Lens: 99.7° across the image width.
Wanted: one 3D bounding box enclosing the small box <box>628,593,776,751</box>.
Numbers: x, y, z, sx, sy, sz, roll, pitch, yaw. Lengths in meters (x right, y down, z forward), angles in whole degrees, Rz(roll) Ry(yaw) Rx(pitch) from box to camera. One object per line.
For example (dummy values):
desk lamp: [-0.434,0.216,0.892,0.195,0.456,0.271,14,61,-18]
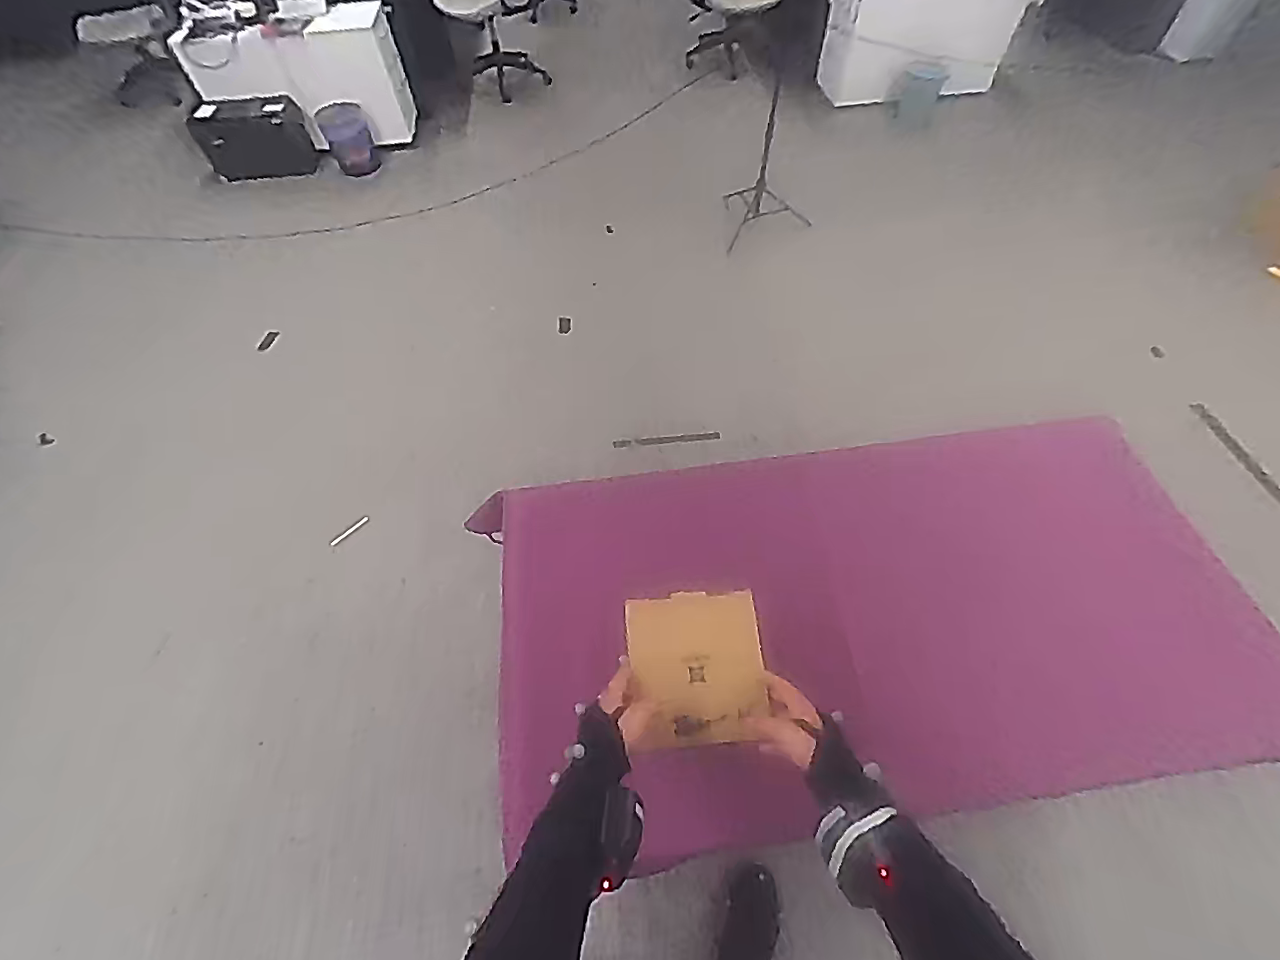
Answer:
small box: [0.071,0.260,0.739,0.168,0.176,0.179,-4,70,-3]
